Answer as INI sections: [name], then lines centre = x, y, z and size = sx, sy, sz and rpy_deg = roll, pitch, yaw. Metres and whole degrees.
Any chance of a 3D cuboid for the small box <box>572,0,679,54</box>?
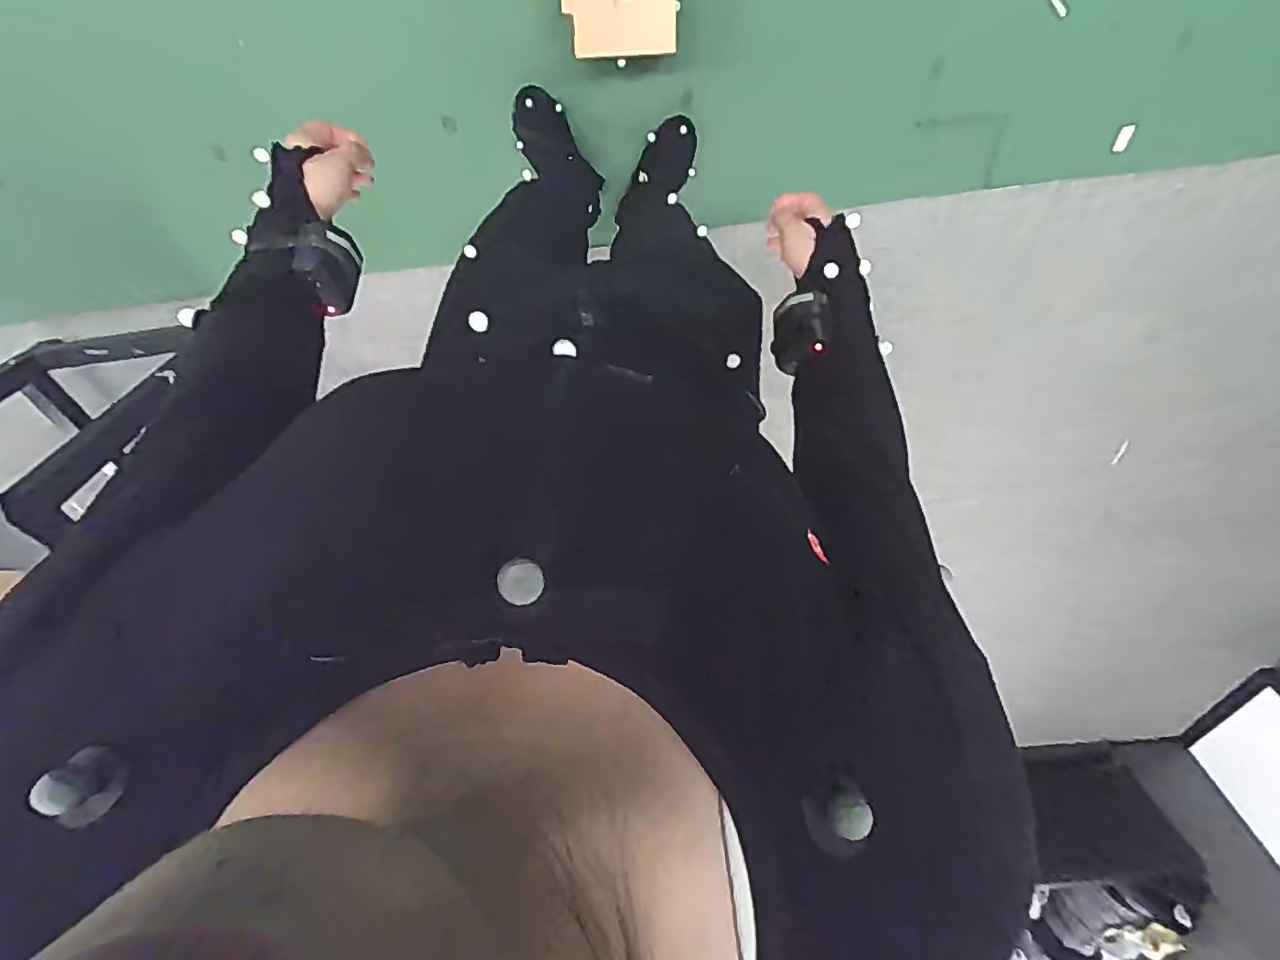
[small box]
centre = -0.028, -0.847, 0.929
size = 0.179, 0.176, 0.168
rpy_deg = -3, 132, 0
